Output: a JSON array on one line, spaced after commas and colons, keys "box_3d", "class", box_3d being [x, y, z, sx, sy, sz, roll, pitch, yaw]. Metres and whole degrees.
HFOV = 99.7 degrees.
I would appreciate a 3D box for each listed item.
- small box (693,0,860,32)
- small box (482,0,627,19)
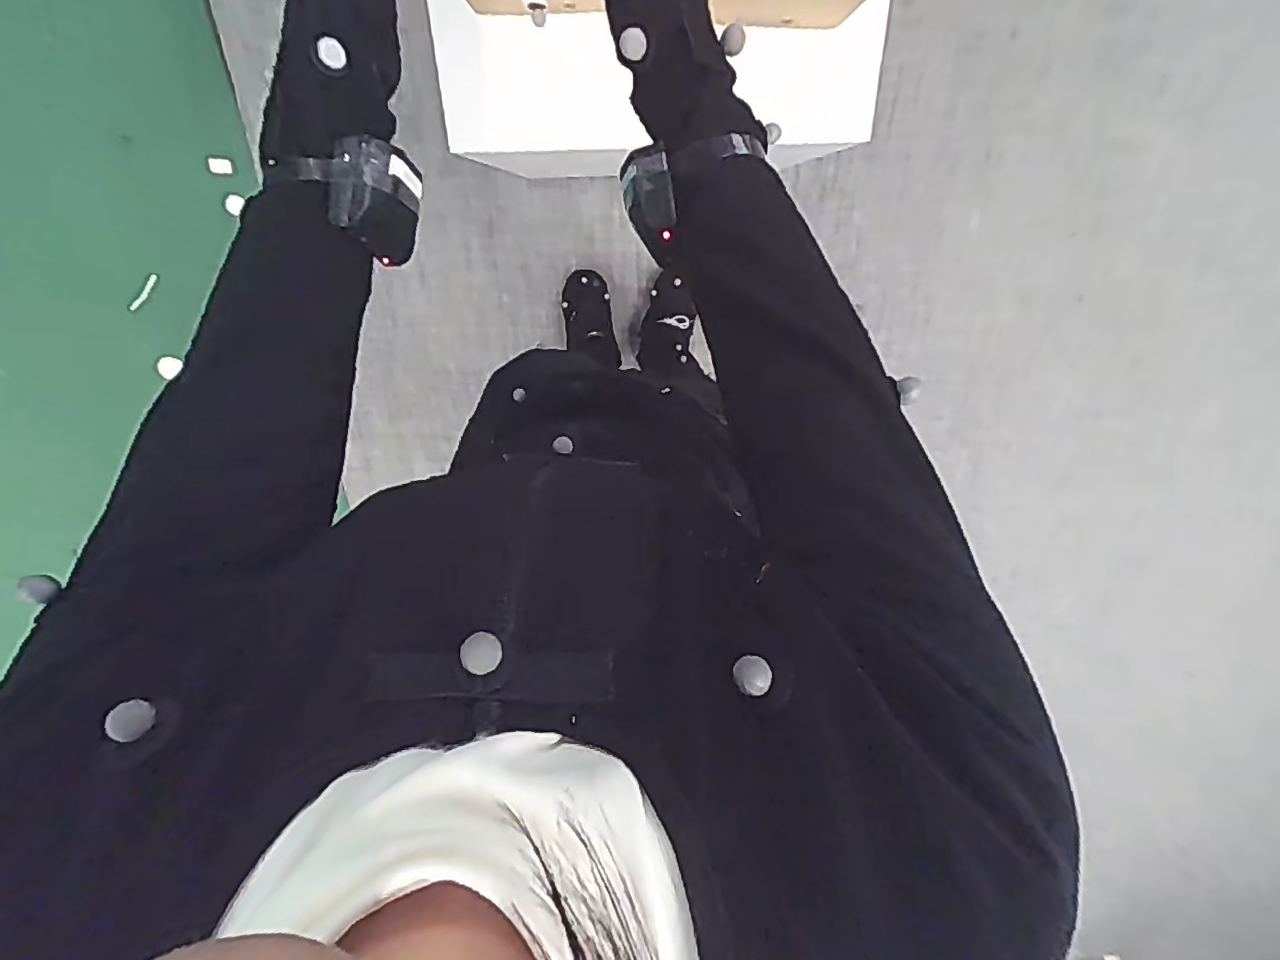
[{"box_3d": [0.140, -0.549, 0.493, 0.168, 0.176, 0.179, 3, 116, -1], "class": "small box"}, {"box_3d": [-0.097, -0.559, 0.492, 0.168, 0.176, 0.179, -2, 118, 2], "class": "small box"}]
